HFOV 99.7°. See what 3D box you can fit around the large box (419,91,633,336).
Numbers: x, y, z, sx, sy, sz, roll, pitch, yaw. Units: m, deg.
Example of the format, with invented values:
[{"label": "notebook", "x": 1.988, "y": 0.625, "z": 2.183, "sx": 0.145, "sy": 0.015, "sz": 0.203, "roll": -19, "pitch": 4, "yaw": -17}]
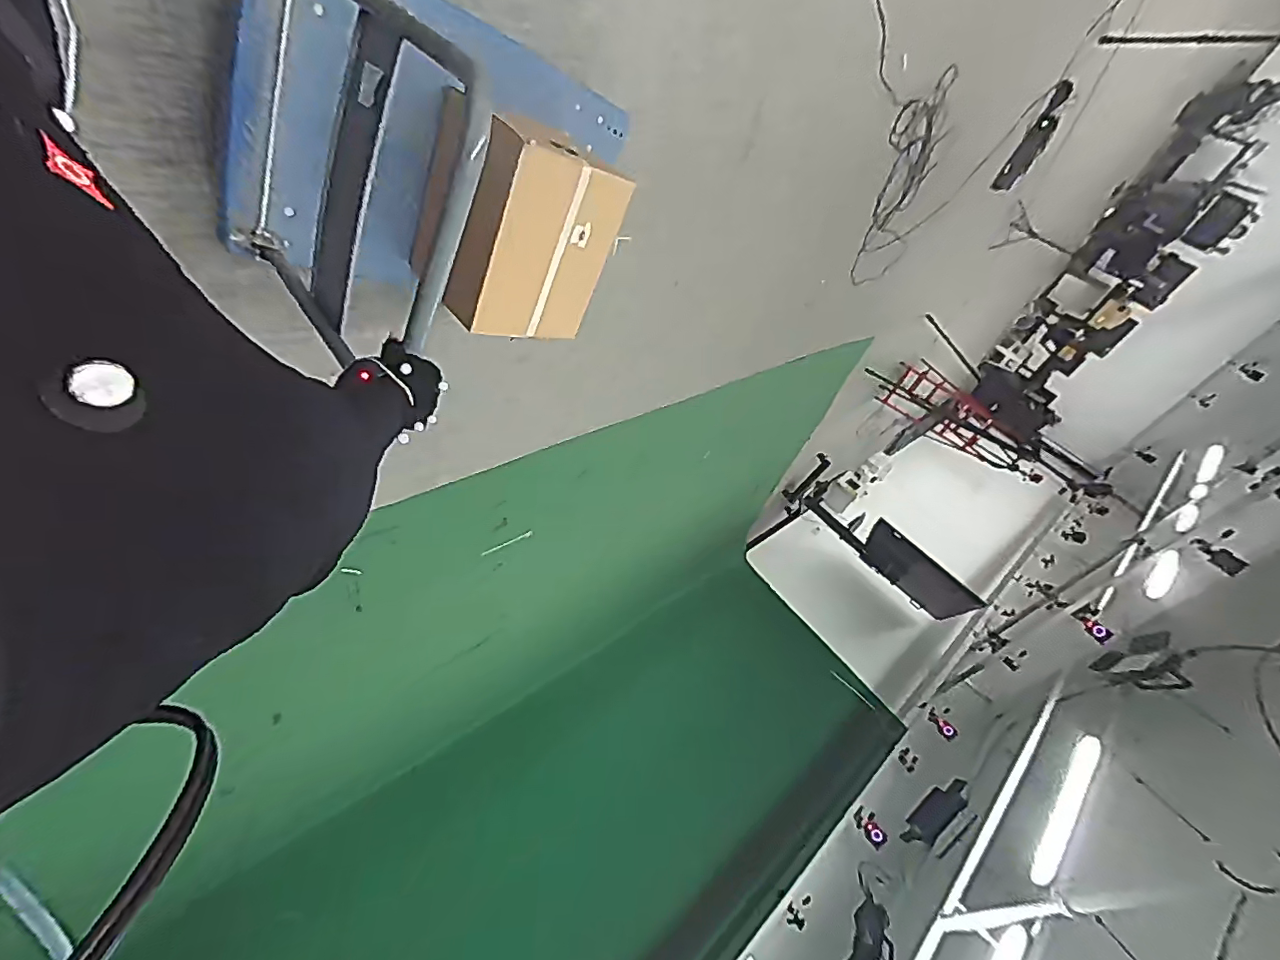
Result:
[{"label": "large box", "x": -0.284, "y": -0.596, "z": 1.276, "sx": 0.320, "sy": 0.320, "sz": 0.408, "roll": -14, "pitch": 141, "yaw": -47}]
